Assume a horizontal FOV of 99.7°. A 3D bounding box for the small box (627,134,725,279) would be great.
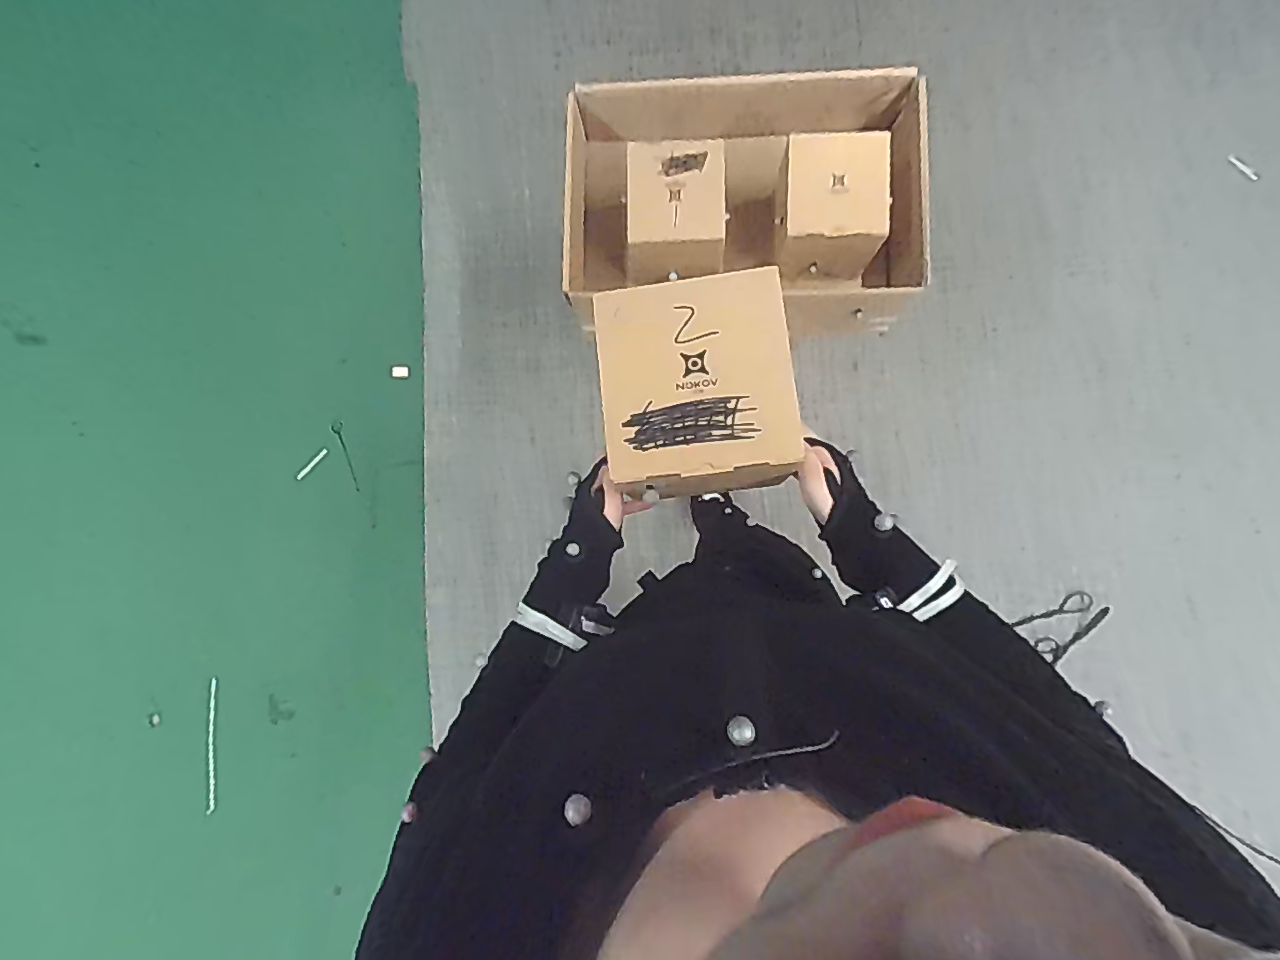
[{"bbox_3d":[0.065,-0.485,0.980,0.168,0.176,0.179,0,87,5],"label":"small box"}]
